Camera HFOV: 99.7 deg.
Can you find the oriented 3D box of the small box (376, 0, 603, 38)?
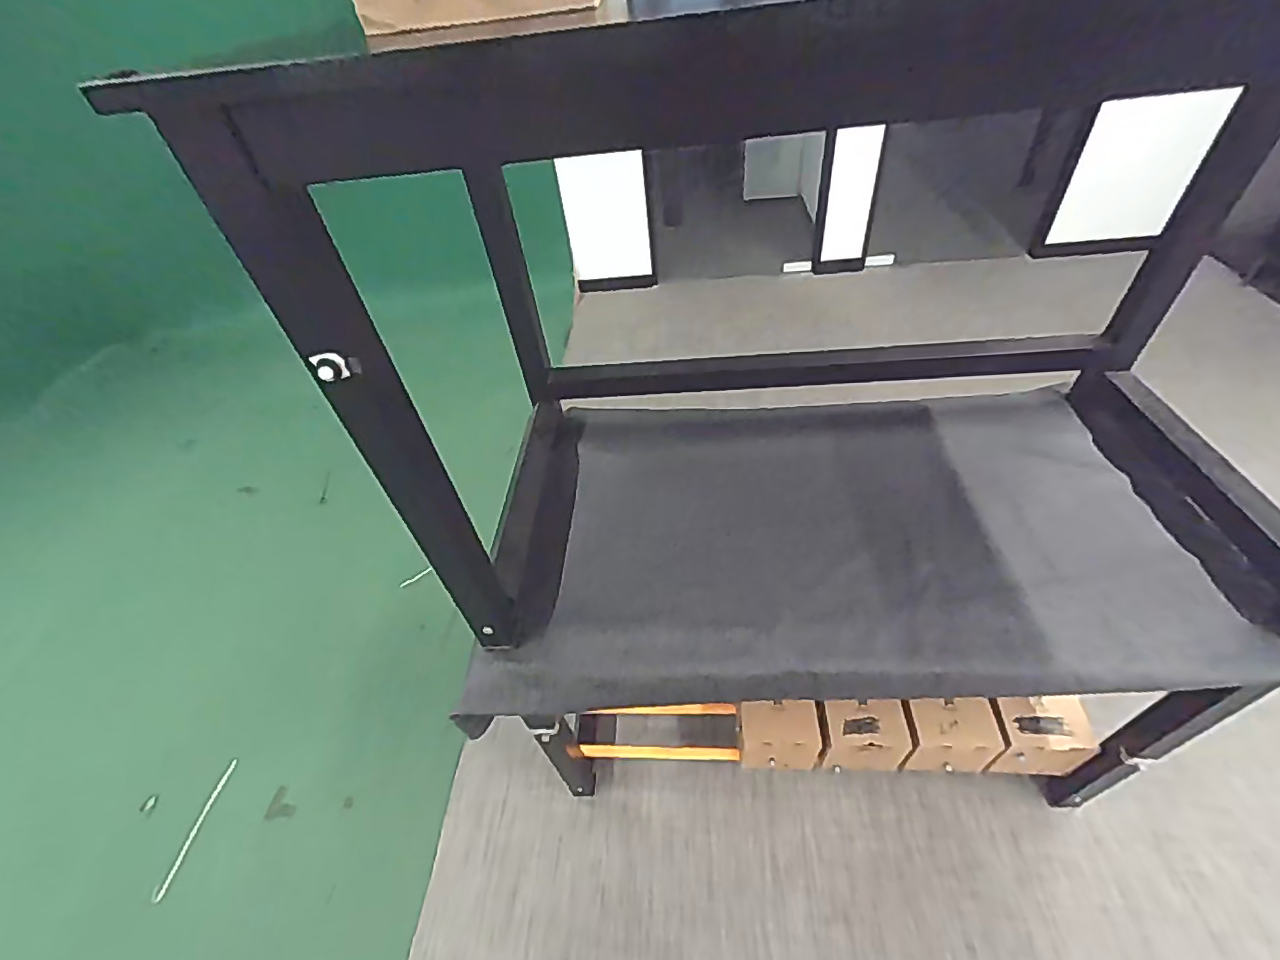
[{"bbox_3d":[-0.116,-0.436,0.385,0.168,0.176,0.179,-5,45,4],"label":"small box"}]
